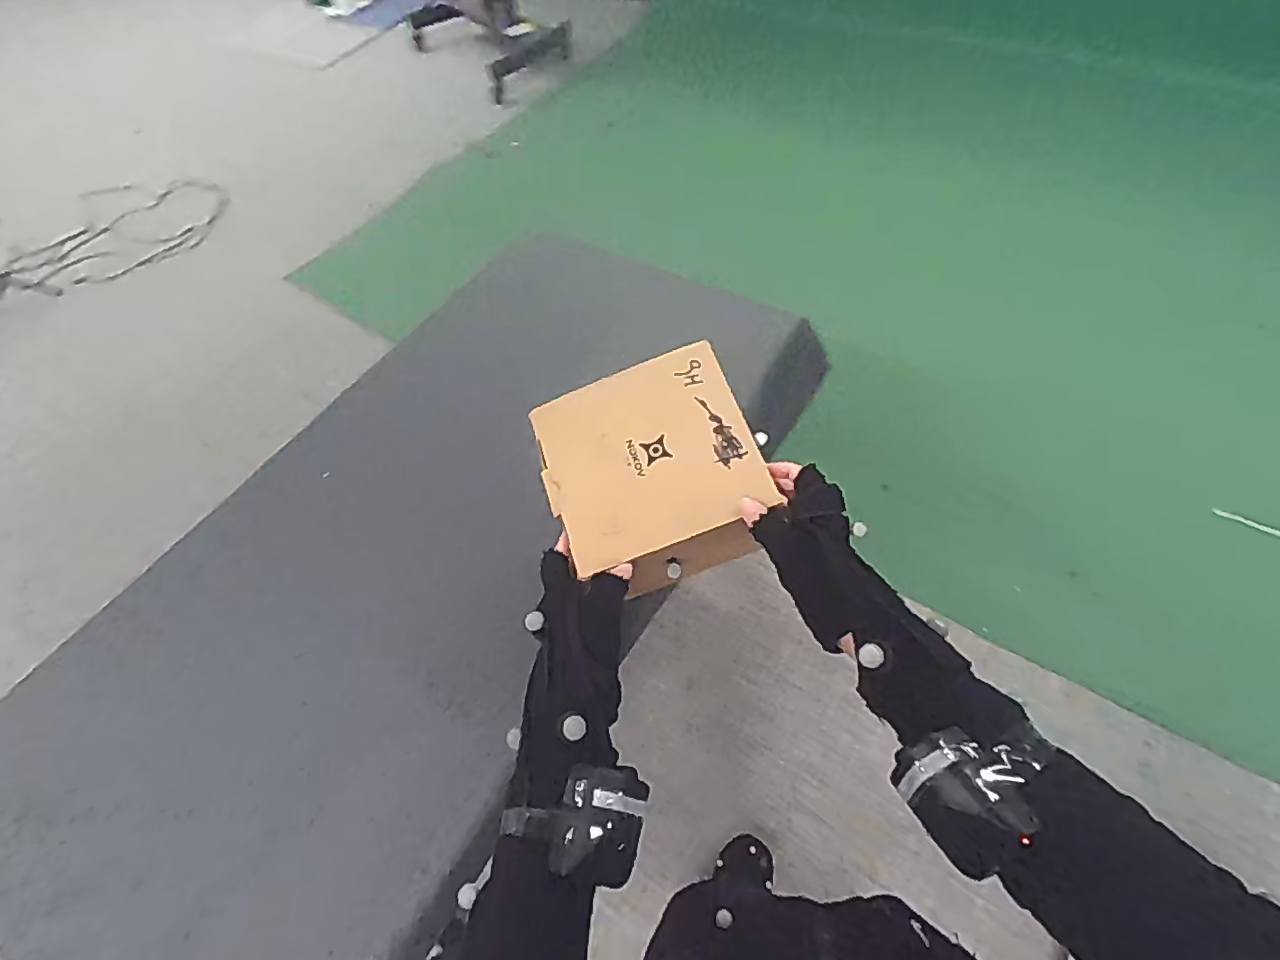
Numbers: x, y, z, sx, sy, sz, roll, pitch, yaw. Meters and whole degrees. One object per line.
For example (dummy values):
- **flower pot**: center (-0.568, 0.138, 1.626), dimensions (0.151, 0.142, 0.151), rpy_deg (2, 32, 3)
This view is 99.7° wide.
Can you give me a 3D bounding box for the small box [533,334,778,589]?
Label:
- **small box**: center (0.023, -0.003, 0.524), dimensions (0.179, 0.176, 0.168), rpy_deg (-21, 70, 5)
